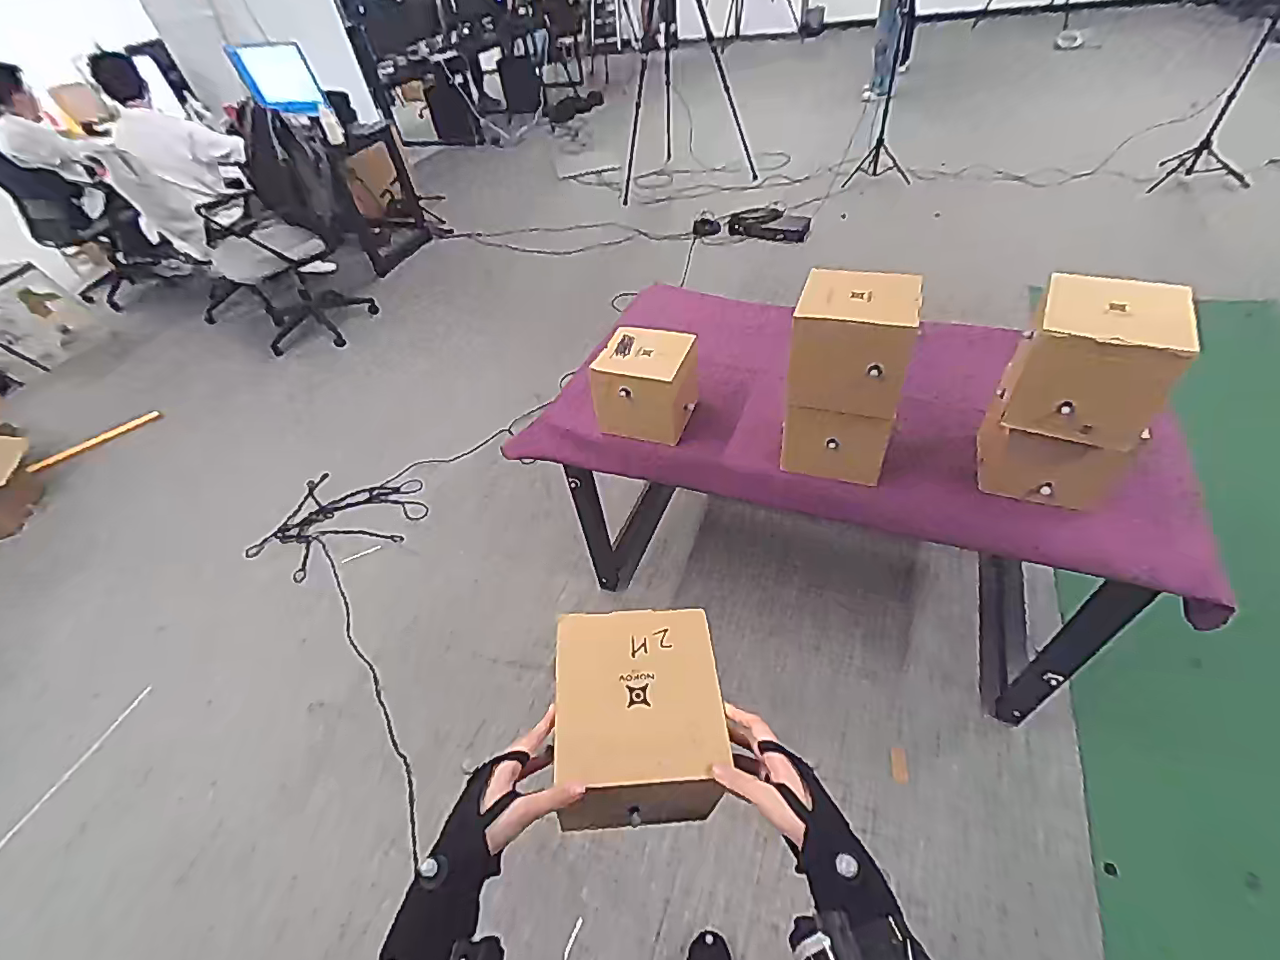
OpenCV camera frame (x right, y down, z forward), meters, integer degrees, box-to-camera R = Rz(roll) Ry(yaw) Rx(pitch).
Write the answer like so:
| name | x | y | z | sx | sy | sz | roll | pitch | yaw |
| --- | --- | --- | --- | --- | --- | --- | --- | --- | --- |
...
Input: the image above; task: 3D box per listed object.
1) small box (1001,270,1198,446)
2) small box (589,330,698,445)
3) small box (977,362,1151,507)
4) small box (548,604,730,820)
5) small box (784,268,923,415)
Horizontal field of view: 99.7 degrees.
| name | x | y | z | sx | sy | sz | roll | pitch | yaw |
| --- | --- | --- | --- | --- | --- | --- | --- | --- | --- |
| small box | 0.653 | -0.179 | 0.788 | 0.168 | 0.176 | 0.179 | 18 | 52 | 26 |
| small box | 0.015 | -0.194 | 1.139 | 0.179 | 0.176 | 0.168 | 12 | 48 | 19 |
| small box | 0.694 | -0.076 | 0.910 | 0.179 | 0.176 | 0.168 | 12 | 48 | 20 |
| small box | -0.008 | 0.256 | 0.592 | 0.168 | 0.176 | 0.179 | 0 | 45 | -6 |
| small box | 0.344 | -0.226 | 0.885 | 0.179 | 0.176 | 0.168 | 12 | 47 | 21 |
